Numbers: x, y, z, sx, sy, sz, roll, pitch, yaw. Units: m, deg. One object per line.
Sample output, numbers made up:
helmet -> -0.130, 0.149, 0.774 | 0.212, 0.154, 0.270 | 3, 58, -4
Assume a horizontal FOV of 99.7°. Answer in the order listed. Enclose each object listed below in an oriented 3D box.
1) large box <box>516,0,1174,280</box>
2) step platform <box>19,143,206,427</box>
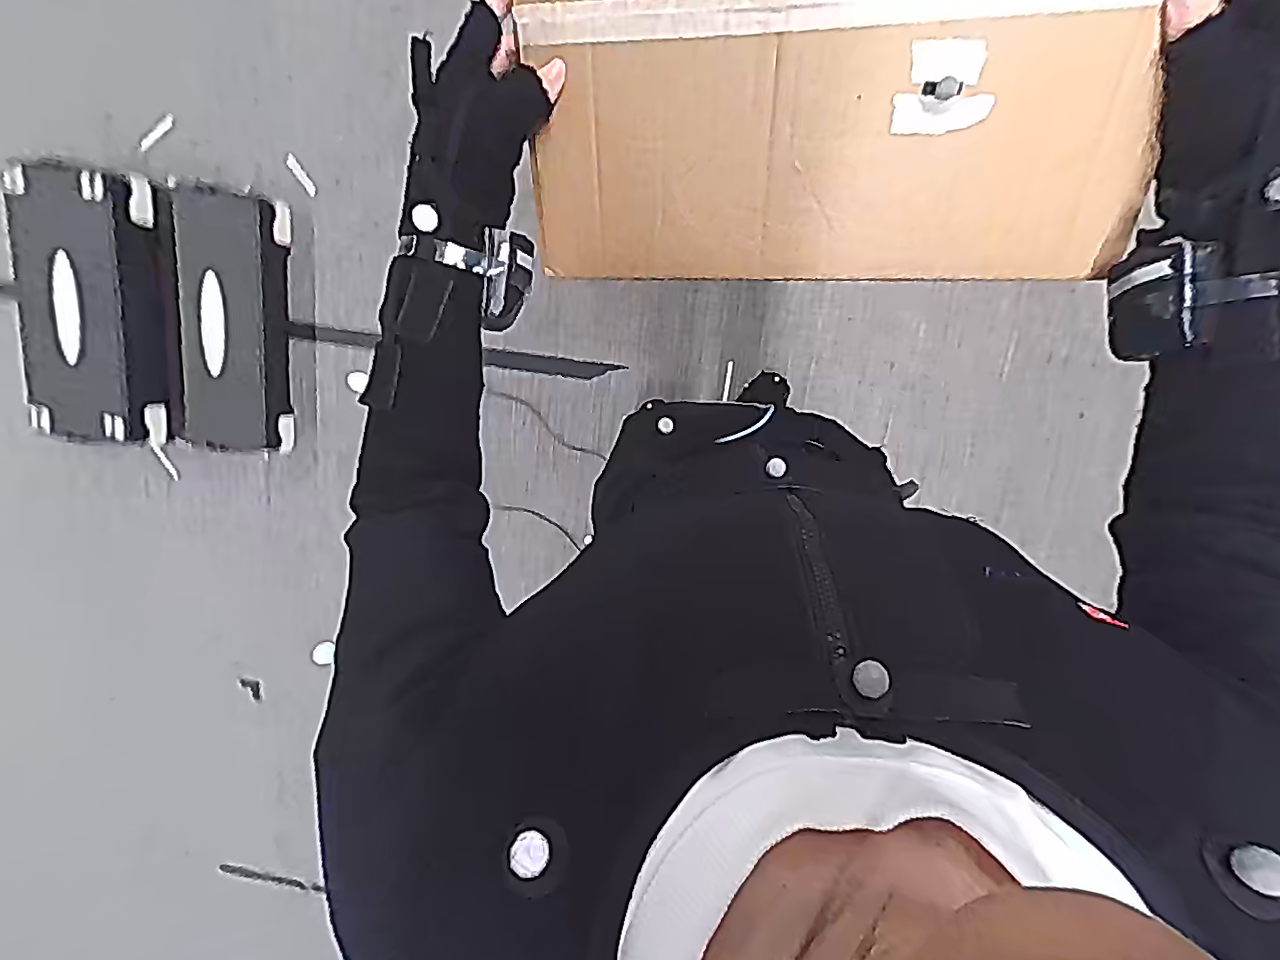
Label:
large box -> 0.132, -0.365, 0.466 | 0.408, 0.320, 0.320 | 2, 120, 8
step platform -> -1.362, -0.482, 1.413 | 0.286, 0.204, 0.684 | 7, 101, 4
